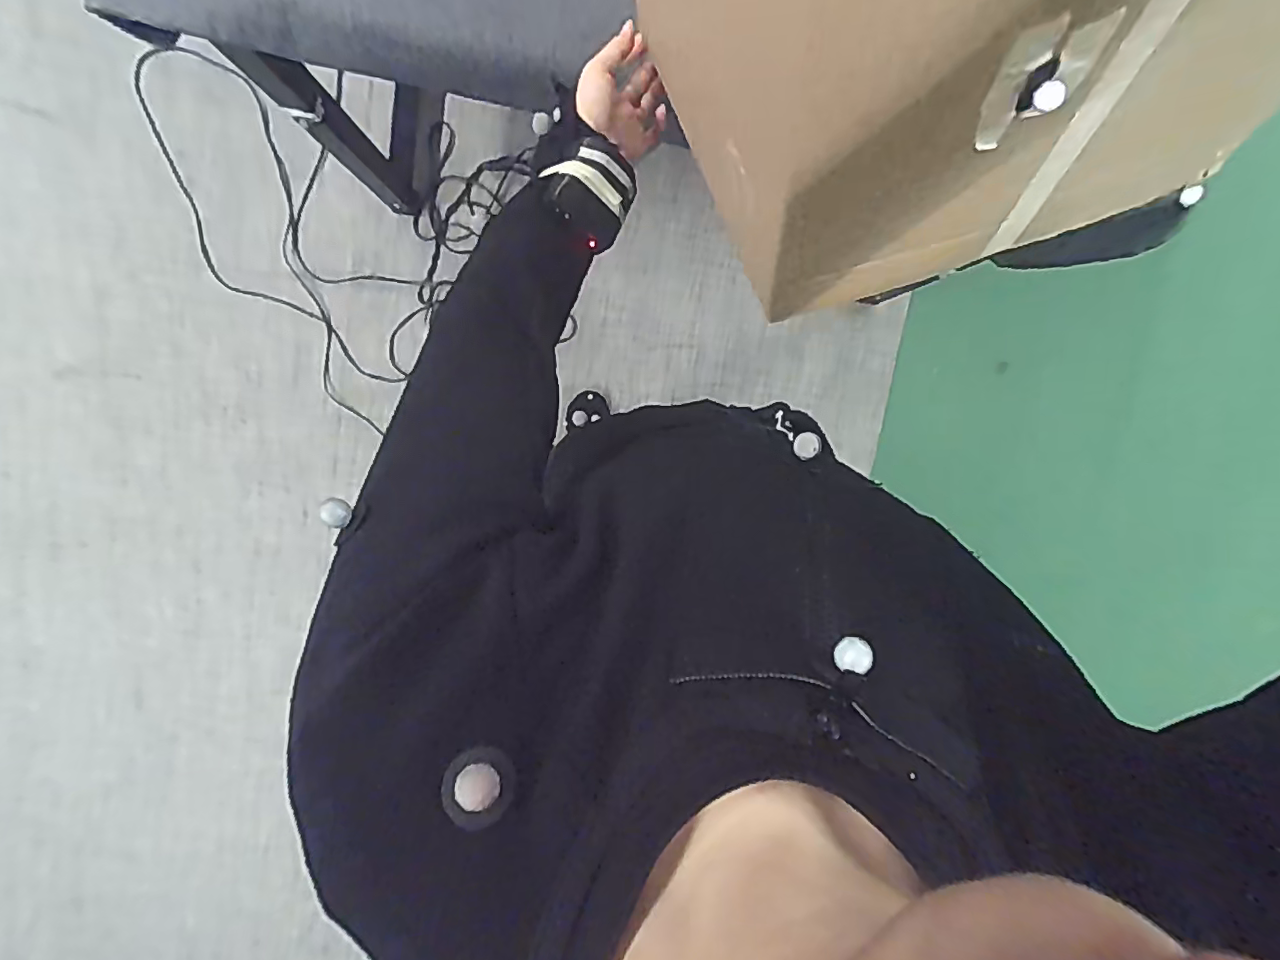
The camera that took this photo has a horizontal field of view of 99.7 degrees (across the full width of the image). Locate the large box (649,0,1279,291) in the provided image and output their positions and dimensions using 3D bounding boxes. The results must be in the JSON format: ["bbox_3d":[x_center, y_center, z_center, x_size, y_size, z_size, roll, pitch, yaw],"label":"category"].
[{"bbox_3d":[0.167,-0.372,0.237,0.320,0.408,0.320,-19,73,3],"label":"large box"}]
